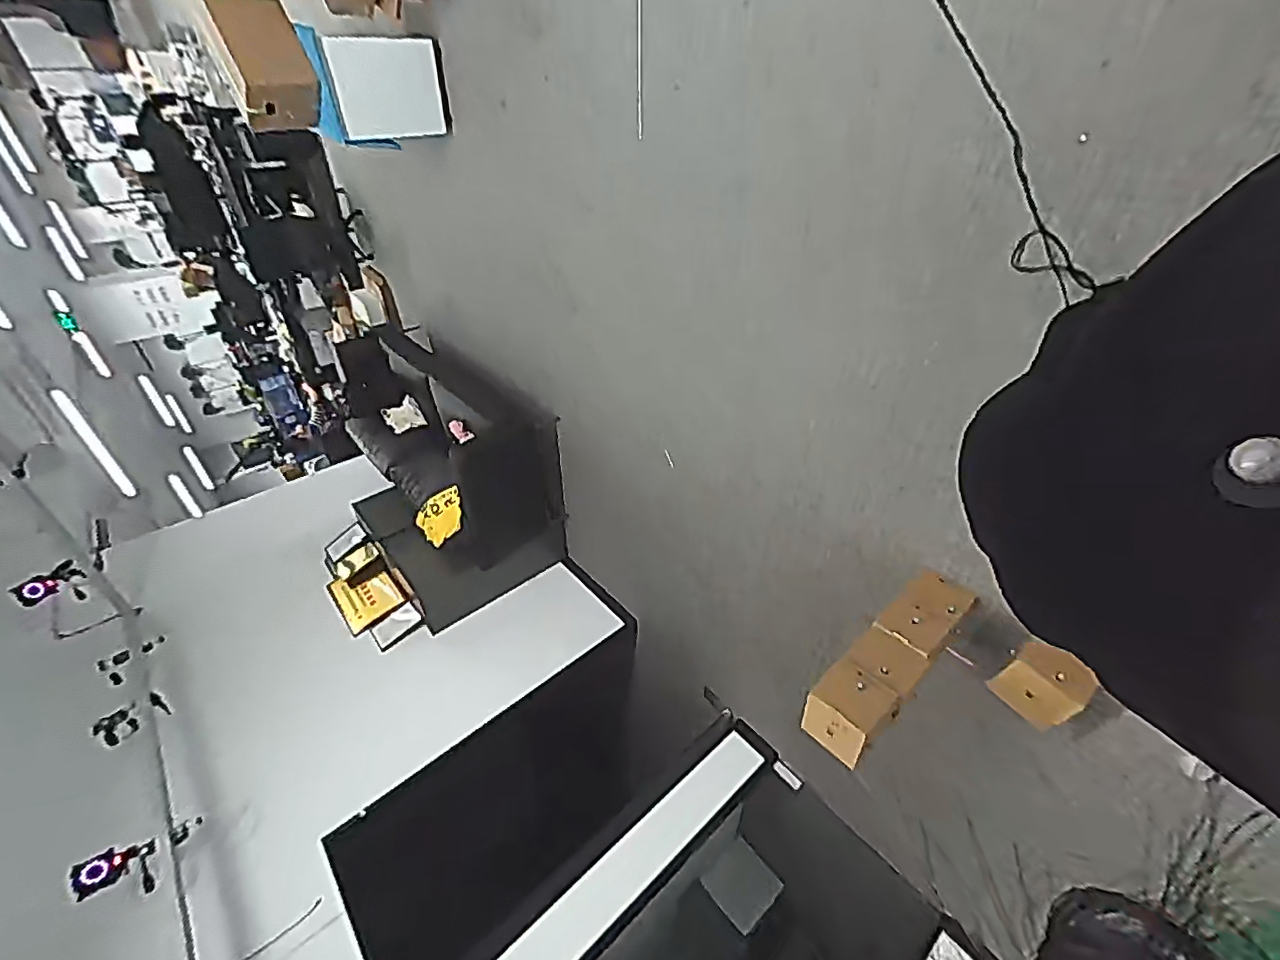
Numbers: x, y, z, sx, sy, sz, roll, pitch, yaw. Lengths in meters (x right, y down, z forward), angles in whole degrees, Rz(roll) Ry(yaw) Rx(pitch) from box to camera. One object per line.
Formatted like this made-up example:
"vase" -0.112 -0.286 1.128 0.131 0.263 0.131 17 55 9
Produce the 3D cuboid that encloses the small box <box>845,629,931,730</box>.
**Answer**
"small box" 0.696 0.564 1.550 0.179 0.176 0.168 34 140 38

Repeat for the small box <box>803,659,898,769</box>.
"small box" 0.570 0.629 1.466 0.168 0.176 0.179 33 138 38

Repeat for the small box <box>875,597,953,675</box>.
"small box" 0.815 0.489 1.636 0.168 0.176 0.179 34 139 39

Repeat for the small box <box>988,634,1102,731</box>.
"small box" 1.144 0.563 1.531 0.179 0.176 0.168 43 143 27
